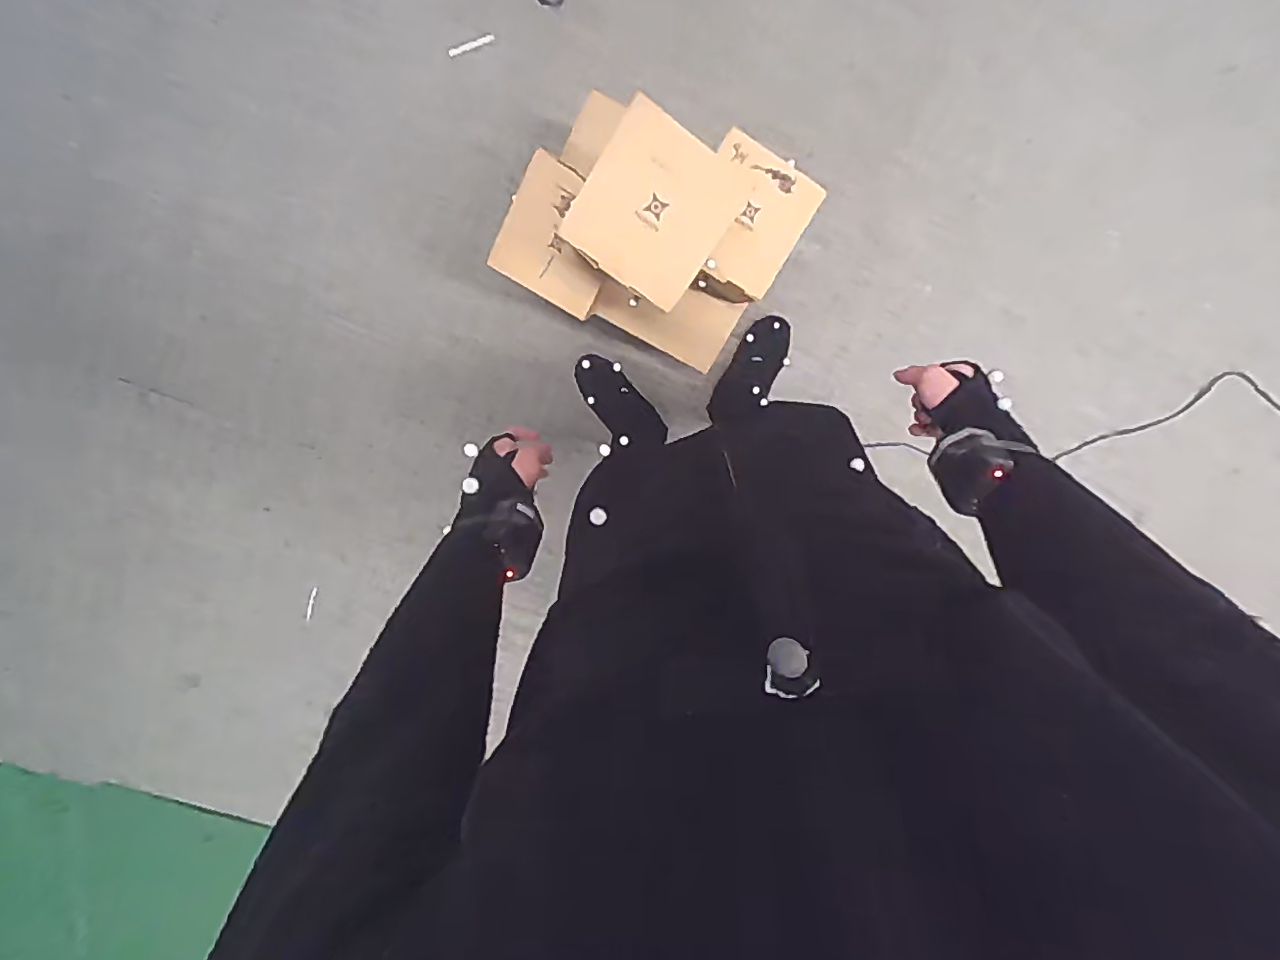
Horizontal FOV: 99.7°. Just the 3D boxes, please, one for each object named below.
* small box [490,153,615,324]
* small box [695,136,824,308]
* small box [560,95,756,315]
[{"bbox_3d":[-0.109,-0.370,0.857,0.168,0.176,0.179,30,107,-9],"label":"small box"},{"bbox_3d":[0.153,-0.388,0.854,0.168,0.176,0.179,29,104,-8],"label":"small box"},{"bbox_3d":[0.020,-0.332,0.698,0.168,0.176,0.179,33,102,-10],"label":"small box"}]
